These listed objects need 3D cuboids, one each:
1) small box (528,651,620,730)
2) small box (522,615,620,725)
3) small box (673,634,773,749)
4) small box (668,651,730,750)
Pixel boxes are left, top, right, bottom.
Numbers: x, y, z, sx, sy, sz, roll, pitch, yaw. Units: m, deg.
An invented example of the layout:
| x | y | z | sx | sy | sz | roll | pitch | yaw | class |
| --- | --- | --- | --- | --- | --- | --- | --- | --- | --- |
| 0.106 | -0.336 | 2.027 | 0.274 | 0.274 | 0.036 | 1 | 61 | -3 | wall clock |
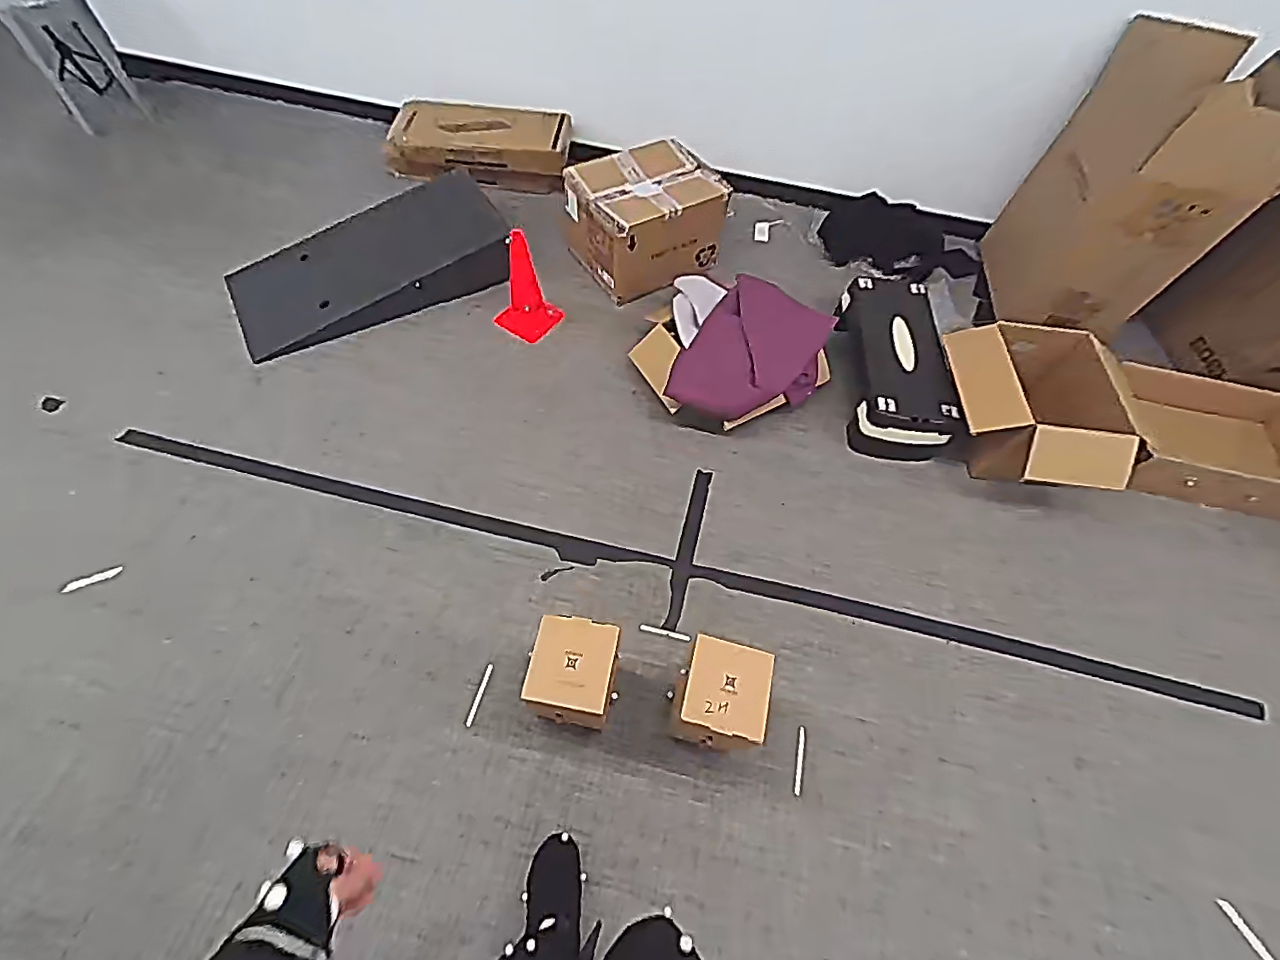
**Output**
| x | y | z | sx | sy | sz | roll | pitch | yaw | class |
| --- | --- | --- | --- | --- | --- | --- | --- | --- | --- |
| -0.152 | 0.490 | 1.295 | 0.179 | 0.176 | 0.168 | 12 | 59 | 3 | small box |
| -0.139 | 0.409 | 1.154 | 0.168 | 0.176 | 0.179 | 9 | 60 | 3 | small box |
| 0.171 | 0.453 | 1.149 | 0.168 | 0.176 | 0.179 | 14 | 60 | 5 | small box |
| 0.166 | 0.533 | 1.294 | 0.168 | 0.176 | 0.179 | 13 | 60 | 4 | small box |
